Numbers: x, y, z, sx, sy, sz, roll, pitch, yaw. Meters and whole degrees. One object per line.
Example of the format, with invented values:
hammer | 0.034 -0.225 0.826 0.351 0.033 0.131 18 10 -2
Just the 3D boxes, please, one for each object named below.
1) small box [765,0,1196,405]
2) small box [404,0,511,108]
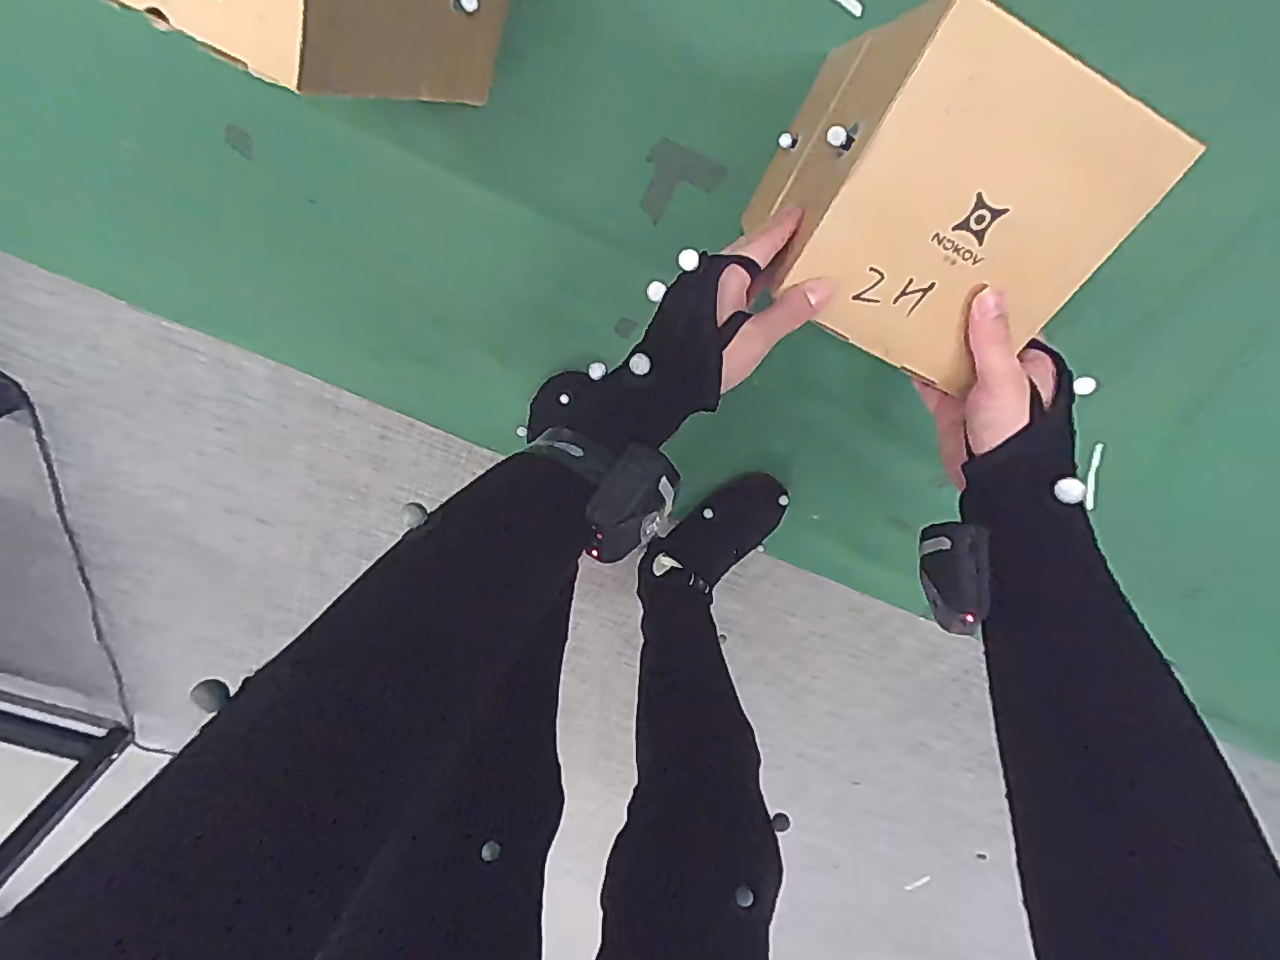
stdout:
small box | 0.206 -0.192 0.394 0.168 0.176 0.179 24 123 -10
small box | -0.215 -0.455 0.465 0.168 0.176 0.179 23 124 -9
